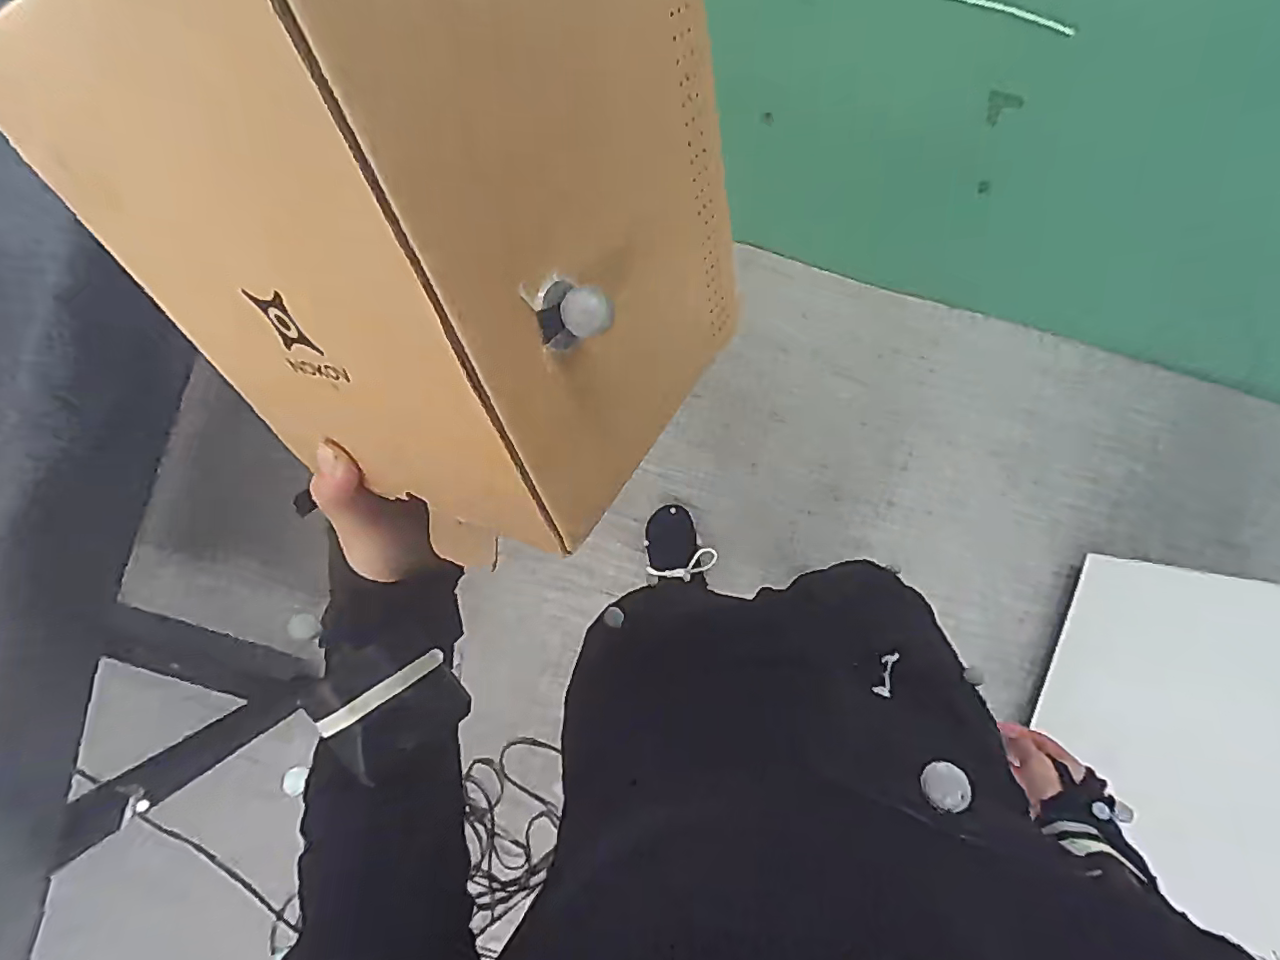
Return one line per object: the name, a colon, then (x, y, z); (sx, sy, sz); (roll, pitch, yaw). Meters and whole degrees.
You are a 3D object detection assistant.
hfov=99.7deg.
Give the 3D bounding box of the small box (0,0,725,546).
small box: (-0.077, -0.106, 0.221); (0.168, 0.179, 0.176); (12, 51, 29)
